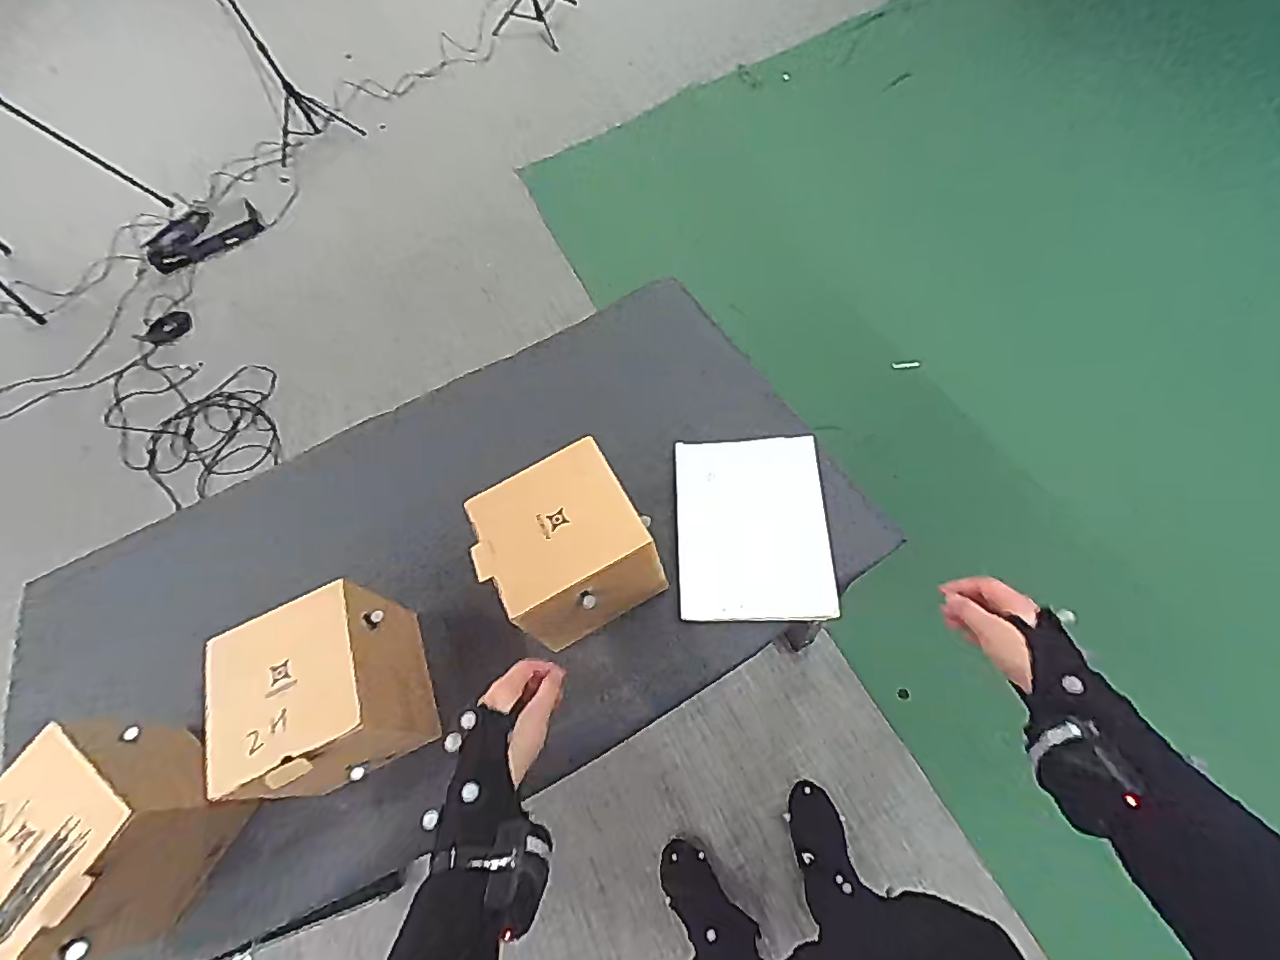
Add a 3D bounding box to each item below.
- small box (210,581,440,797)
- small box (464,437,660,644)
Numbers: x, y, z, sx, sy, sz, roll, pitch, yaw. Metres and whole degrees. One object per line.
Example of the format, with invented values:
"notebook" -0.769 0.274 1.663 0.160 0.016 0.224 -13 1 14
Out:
"small box" -0.369 0.253 0.651 0.168 0.176 0.179 -26 61 -3
"small box" -0.086 0.084 0.686 0.179 0.176 0.168 -30 61 -4
